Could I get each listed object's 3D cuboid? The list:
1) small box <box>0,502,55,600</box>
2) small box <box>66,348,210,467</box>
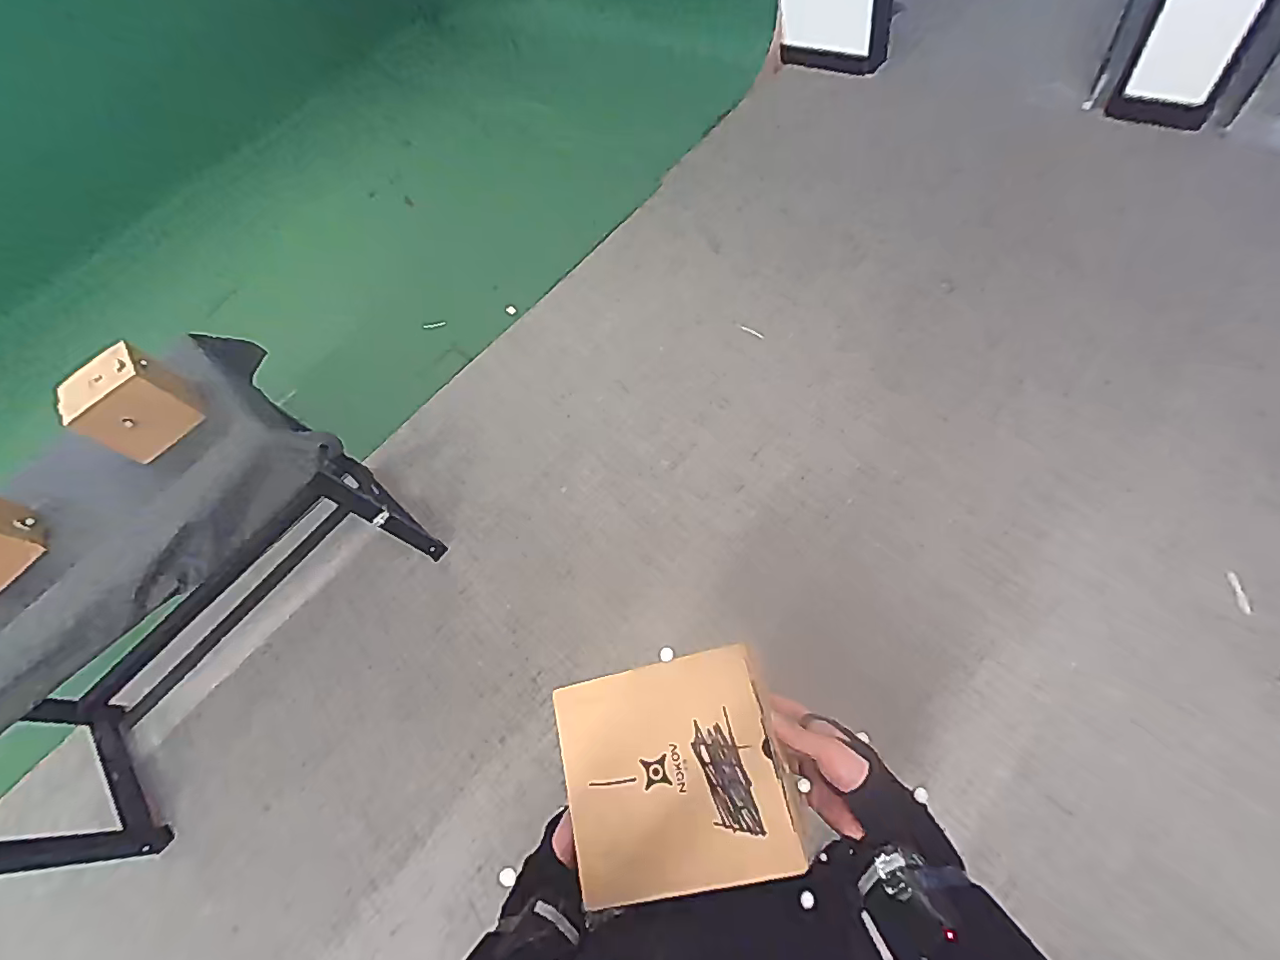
[{"bbox_3d":[-1.446,0.152,1.170,0.168,0.176,0.179,35,75,28],"label":"small box"},{"bbox_3d":[-1.152,-0.161,1.248,0.179,0.176,0.168,-43,60,-8],"label":"small box"}]
